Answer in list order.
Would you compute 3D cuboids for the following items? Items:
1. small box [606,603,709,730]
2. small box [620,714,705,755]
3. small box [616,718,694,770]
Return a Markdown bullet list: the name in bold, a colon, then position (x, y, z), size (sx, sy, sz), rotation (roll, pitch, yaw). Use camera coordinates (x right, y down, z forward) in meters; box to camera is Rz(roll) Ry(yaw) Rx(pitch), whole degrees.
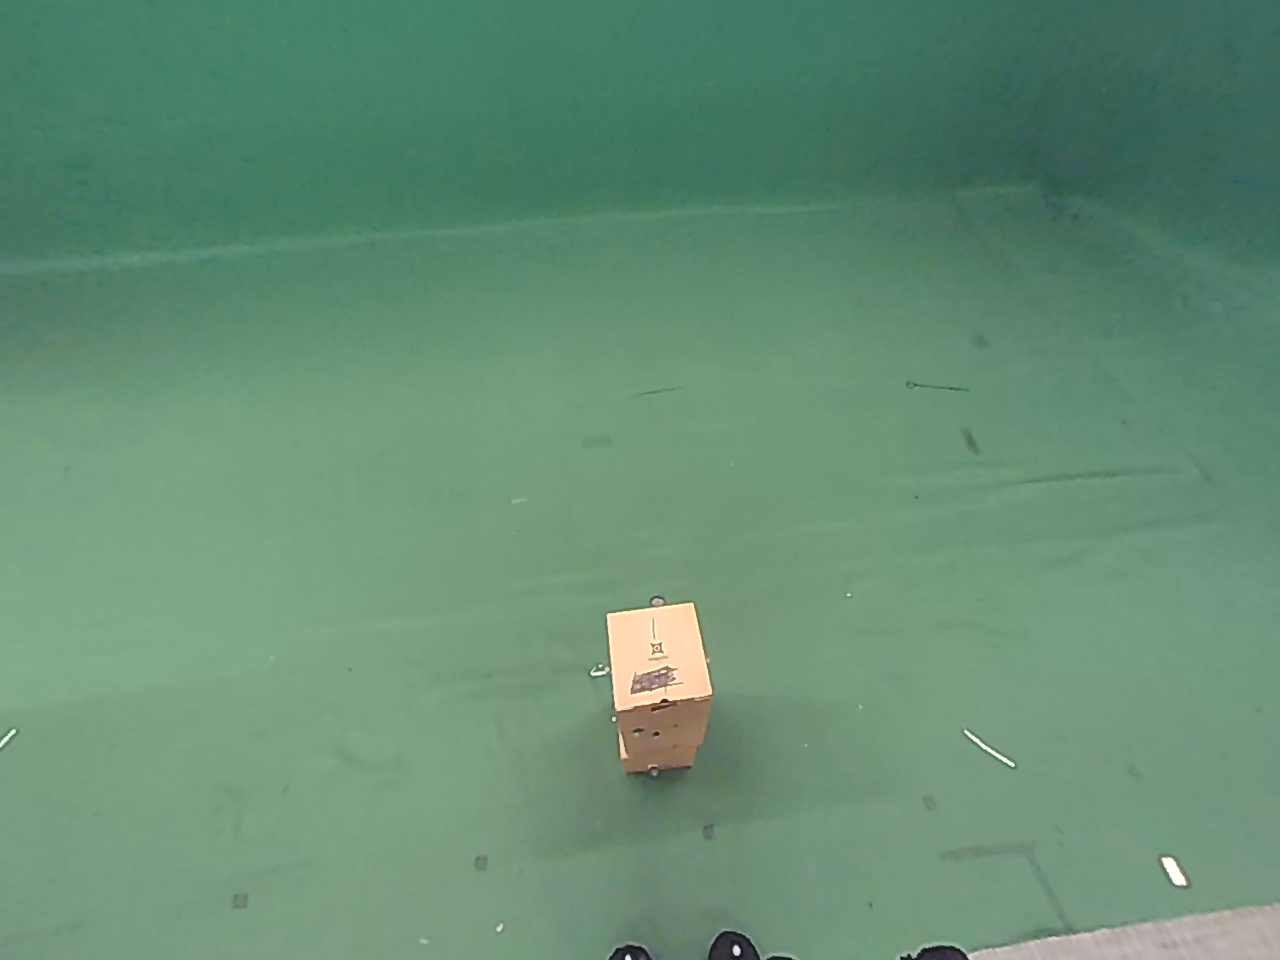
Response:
- **small box**: position (0.030, 0.353, 1.010), size (0.168, 0.176, 0.179), rotation (-6, 50, -3)
- **small box**: position (0.036, 0.455, 1.139), size (0.168, 0.176, 0.179), rotation (-7, 50, -3)
- **small box**: position (0.030, 0.552, 1.248), size (0.168, 0.176, 0.179), rotation (-5, 52, 0)
